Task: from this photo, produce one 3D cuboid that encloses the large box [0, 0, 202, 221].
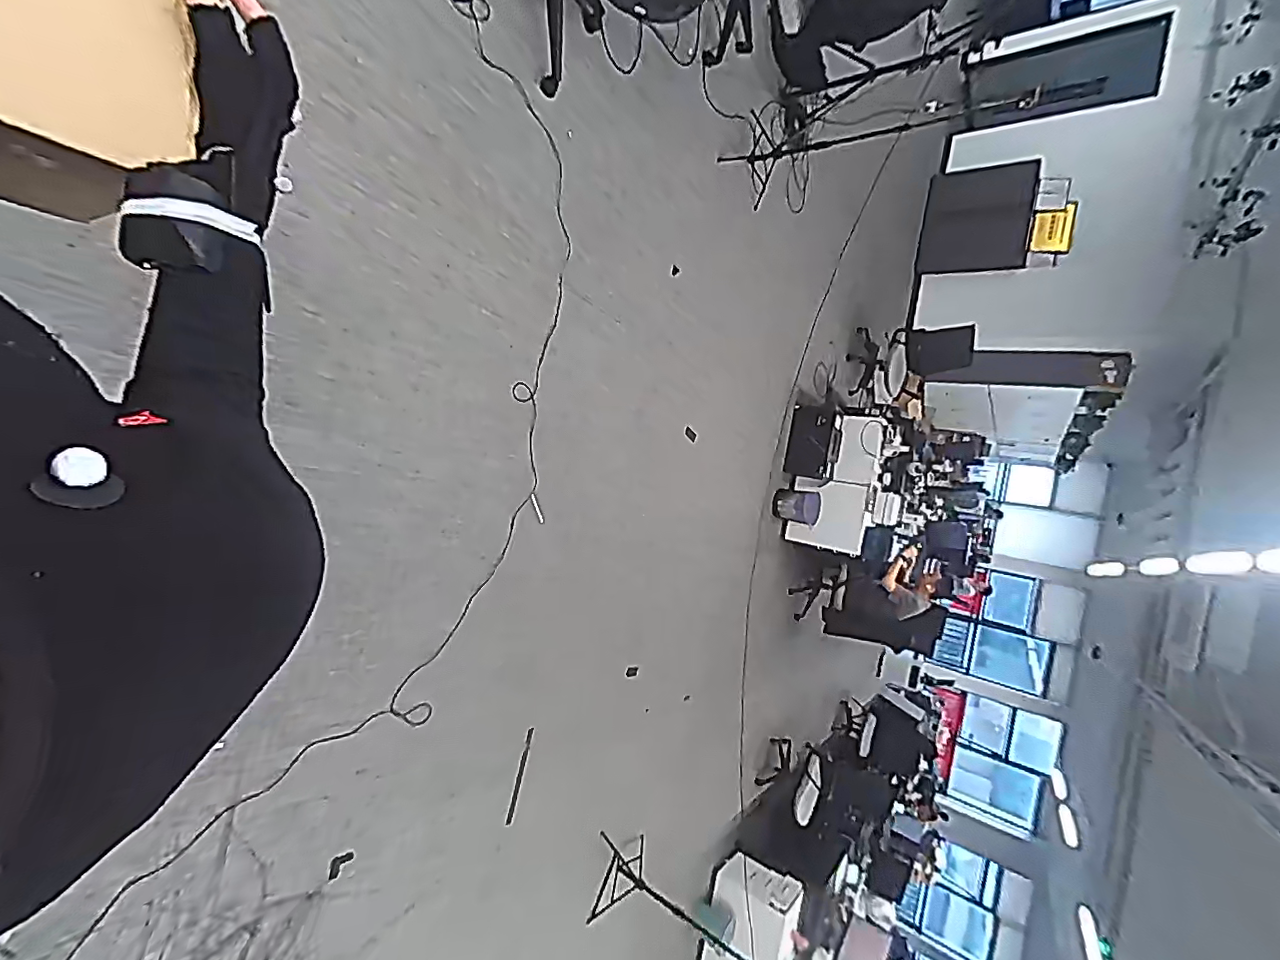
[{"bbox_3d":[-0.556,-0.394,0.314,0.408,0.320,0.320,2,100,-57],"label":"large box"}]
